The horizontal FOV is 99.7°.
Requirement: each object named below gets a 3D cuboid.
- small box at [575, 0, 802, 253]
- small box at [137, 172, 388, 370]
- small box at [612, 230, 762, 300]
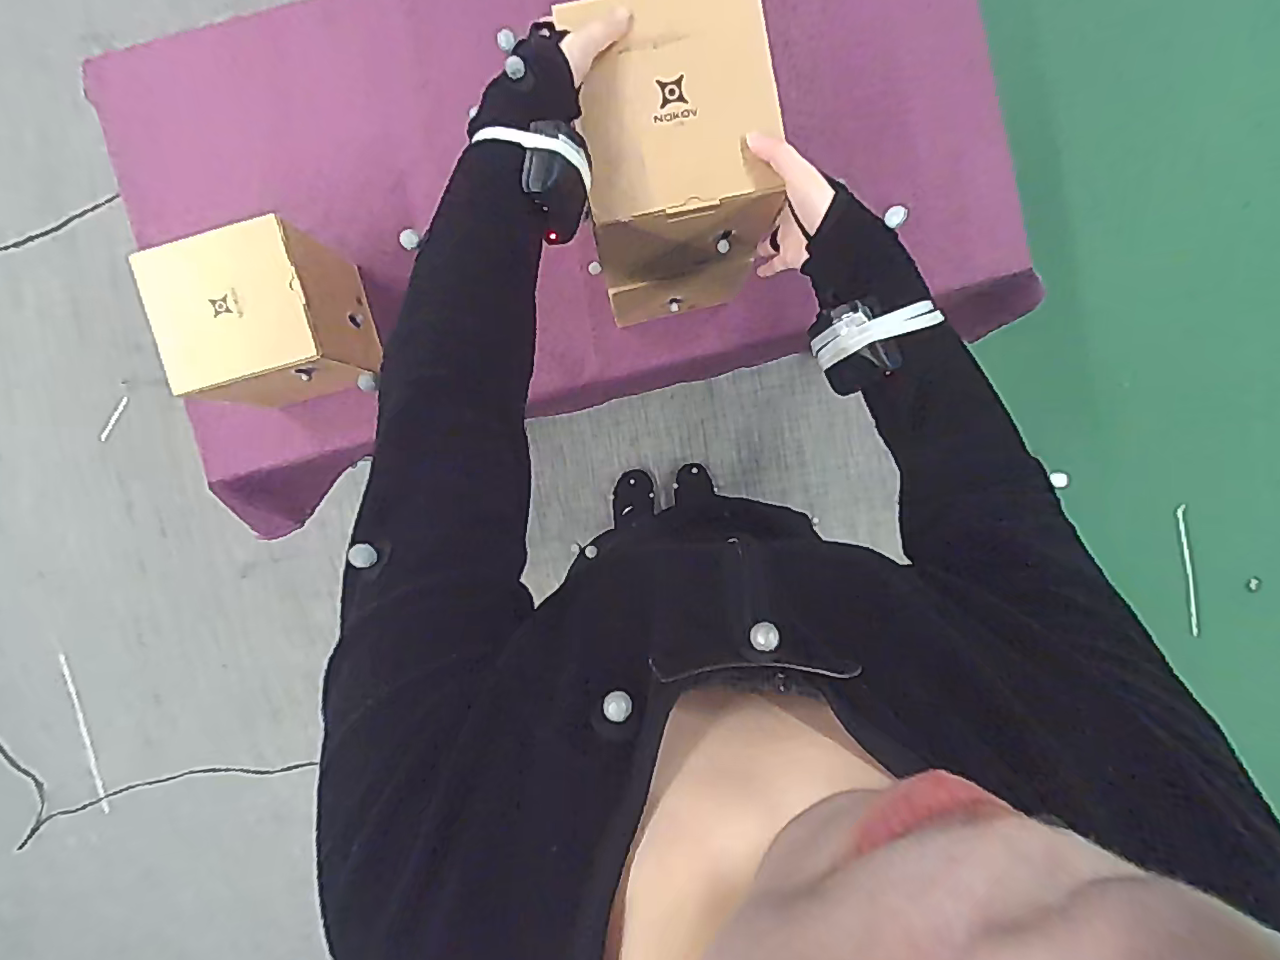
[{"bbox_3d":[0.039,-0.326,0.502,0.168,0.176,0.179,-8,94,1],"label":"small box"},{"bbox_3d":[-0.453,-0.244,0.677,0.179,0.176,0.168,-13,93,0],"label":"small box"},{"bbox_3d":[0.043,-0.333,0.665,0.168,0.176,0.179,-10,93,1],"label":"small box"}]
